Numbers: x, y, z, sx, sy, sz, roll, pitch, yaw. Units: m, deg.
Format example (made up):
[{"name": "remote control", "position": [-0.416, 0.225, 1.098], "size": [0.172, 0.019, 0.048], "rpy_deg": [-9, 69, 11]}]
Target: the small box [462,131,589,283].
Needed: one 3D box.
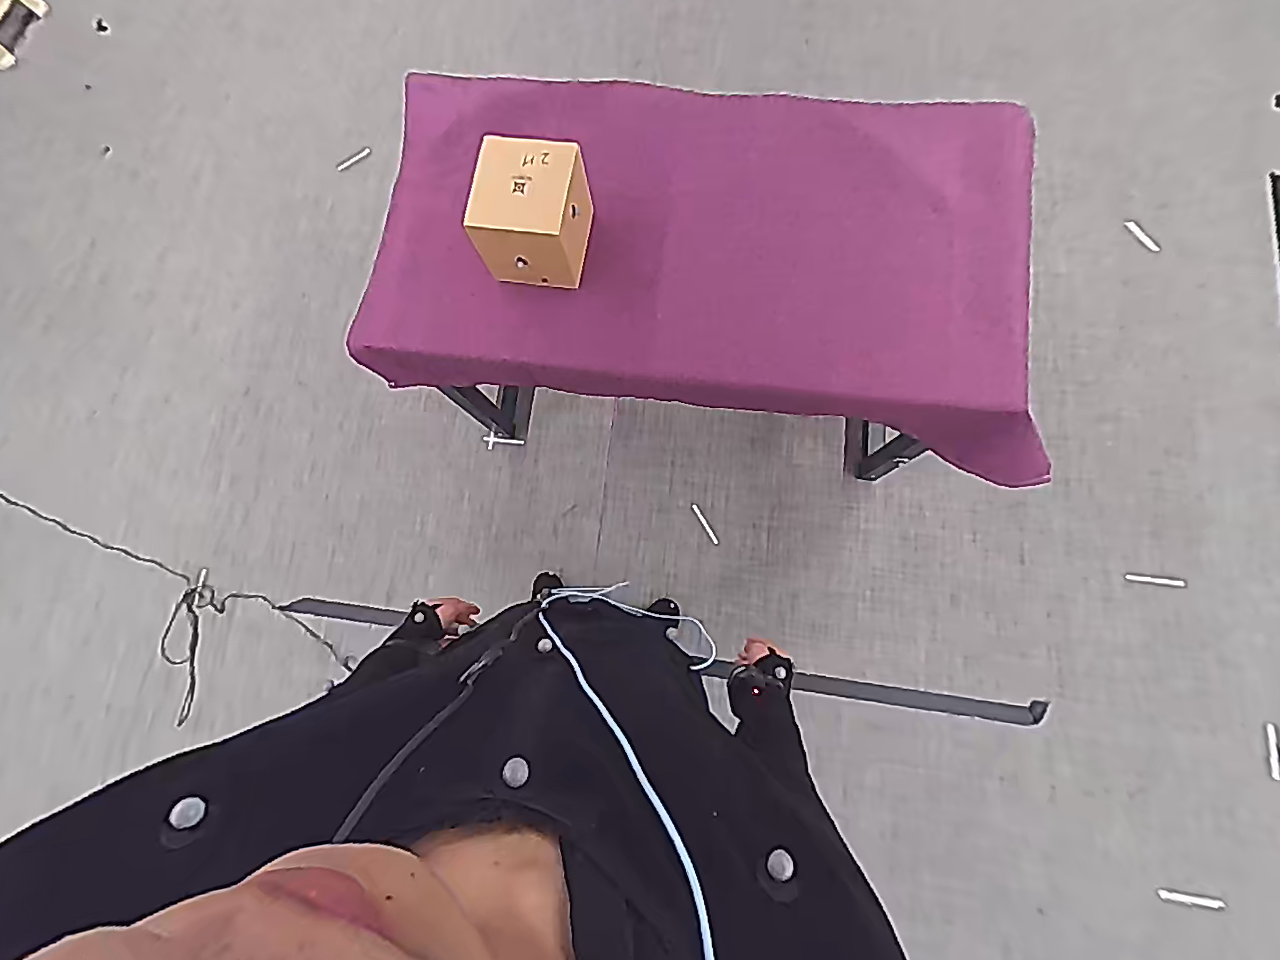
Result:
[{"name": "small box", "position": [-0.193, -0.479, 0.969], "size": [0.168, 0.176, 0.179], "rpy_deg": [9, 80, 5]}]
